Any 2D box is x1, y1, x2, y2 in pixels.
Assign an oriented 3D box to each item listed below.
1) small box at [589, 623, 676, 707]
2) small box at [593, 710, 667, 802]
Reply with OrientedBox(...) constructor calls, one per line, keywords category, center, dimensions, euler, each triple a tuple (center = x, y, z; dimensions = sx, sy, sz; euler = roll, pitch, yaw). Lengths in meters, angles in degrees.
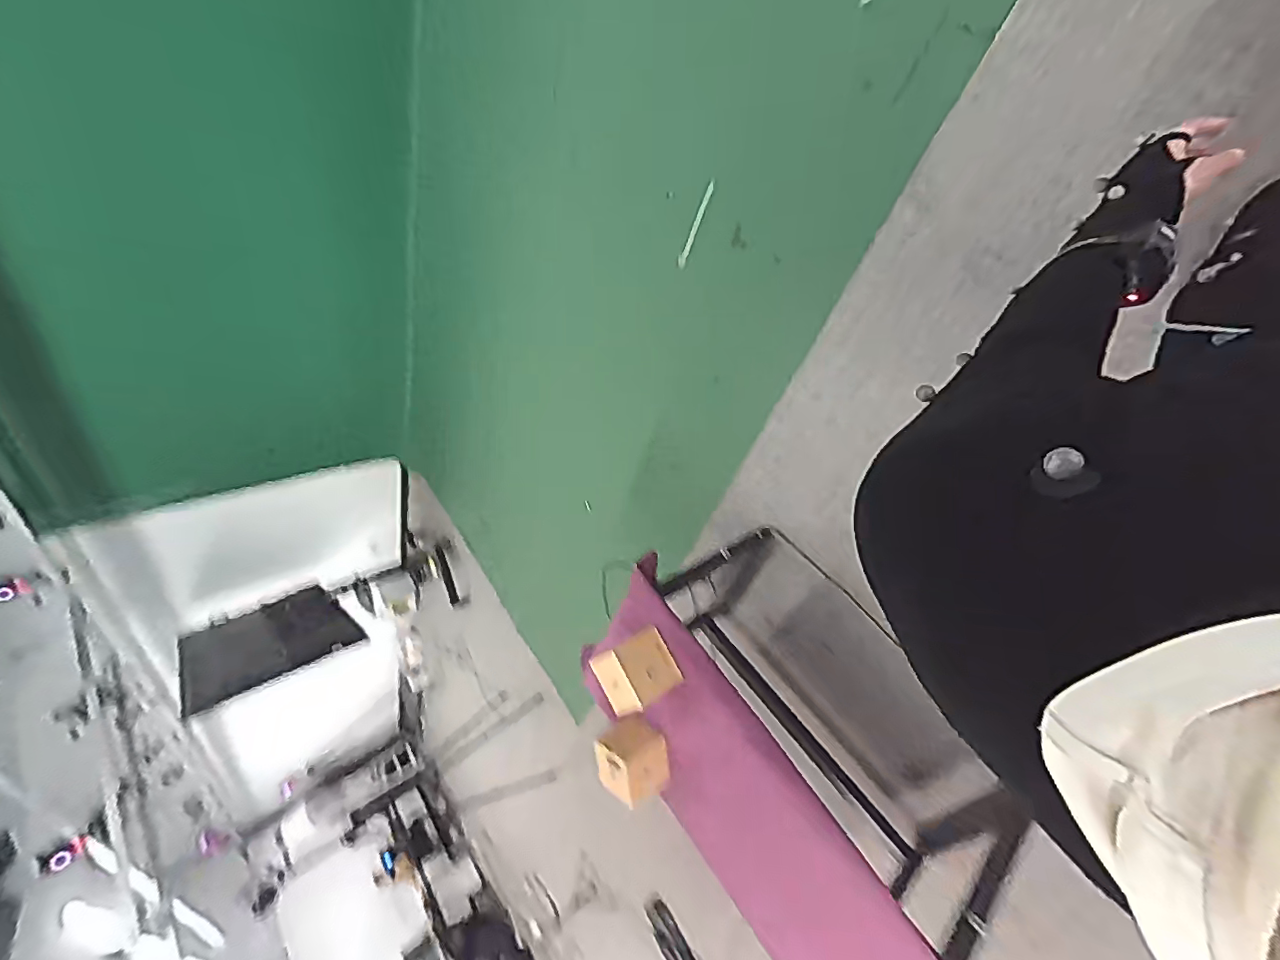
OrientedBox(category="small box", center=(-0.016, 0.548, 1.608), dimensions=(0.168, 0.176, 0.179), euler=(59, 142, 11))
OrientedBox(category="small box", center=(-0.030, 0.895, 1.773), dimensions=(0.168, 0.176, 0.179), euler=(10, 113, 47))
